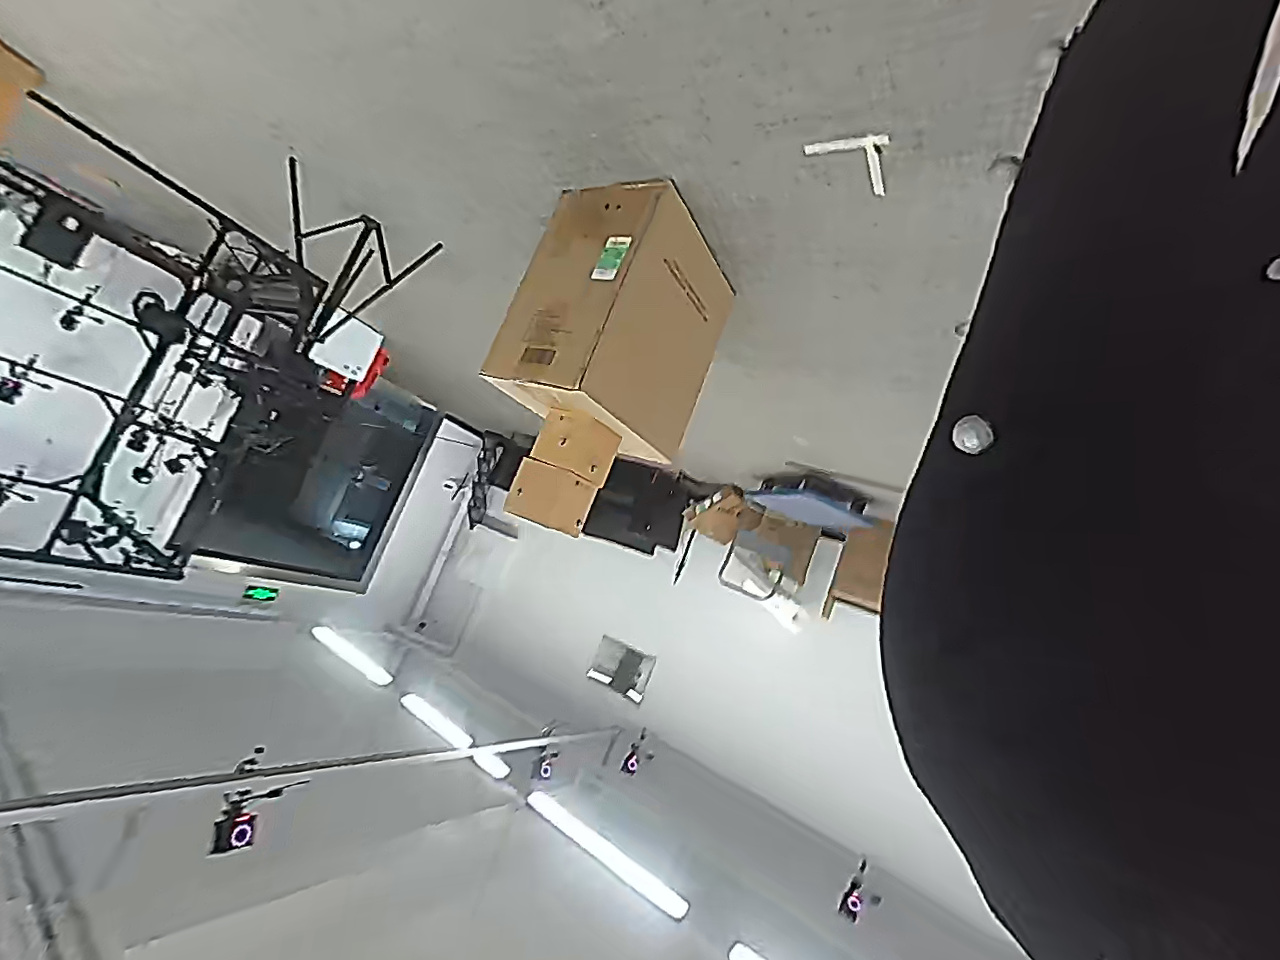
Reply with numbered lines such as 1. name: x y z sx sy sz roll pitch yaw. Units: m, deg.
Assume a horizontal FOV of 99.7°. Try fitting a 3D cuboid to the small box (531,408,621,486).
1. small box: -0.184 -0.100 1.597 0.168 0.176 0.179 15 170 34
